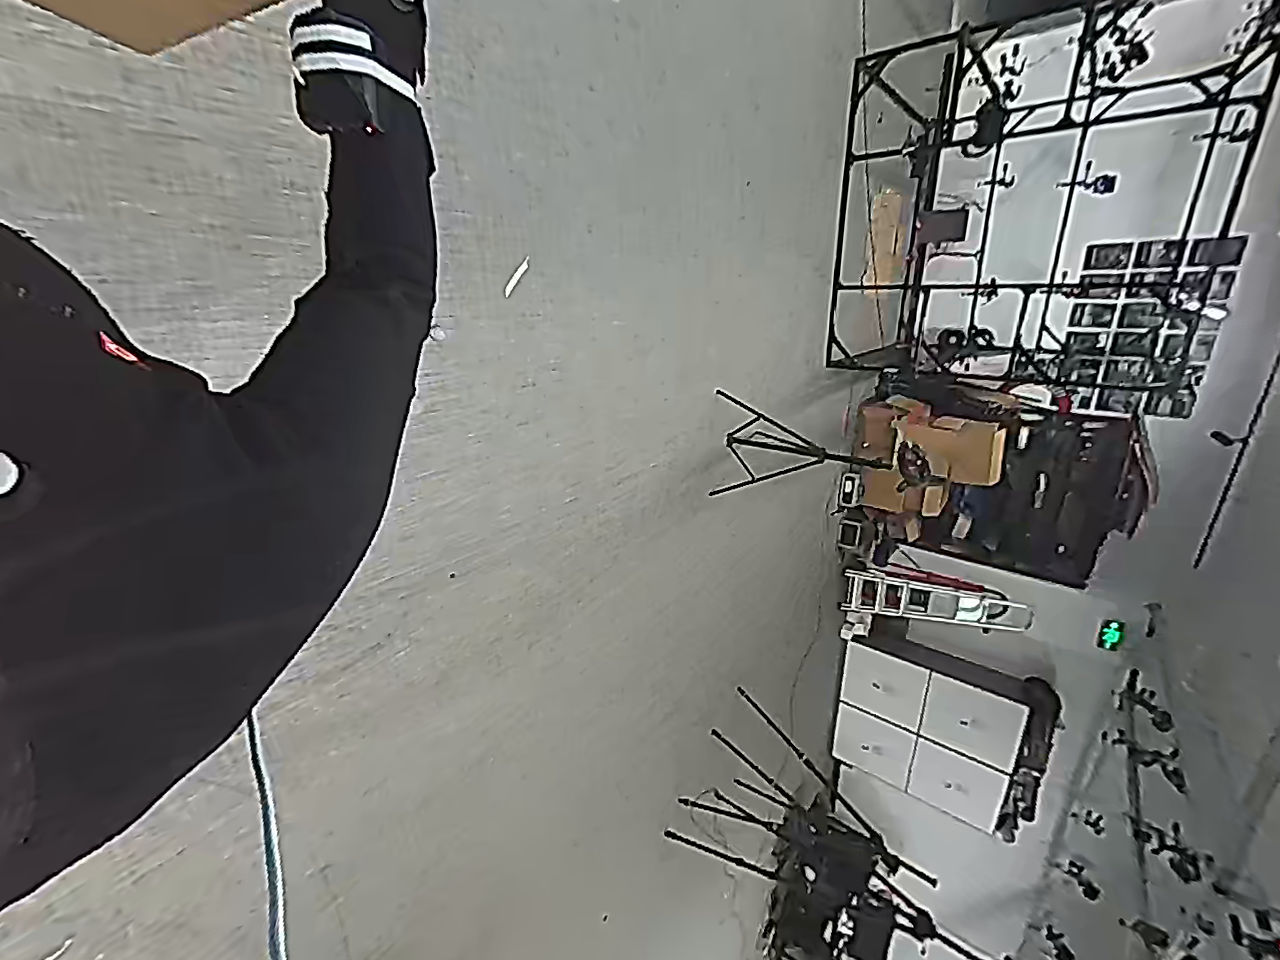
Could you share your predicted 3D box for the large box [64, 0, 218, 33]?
[{"bbox_3d":[-0.432,-0.508,0.242,0.408,0.320,0.320,-8,114,-56],"label":"large box"}]
